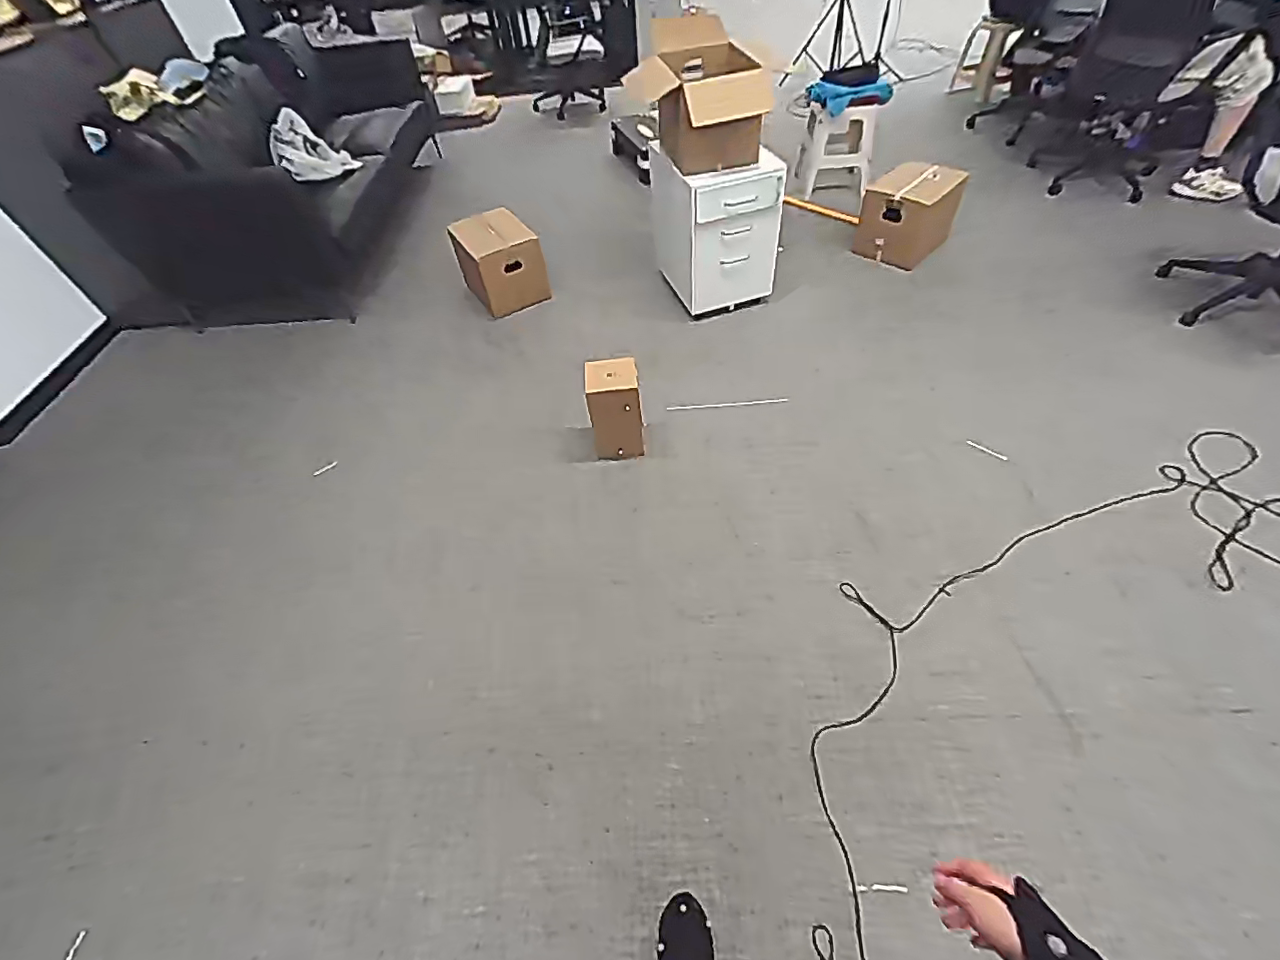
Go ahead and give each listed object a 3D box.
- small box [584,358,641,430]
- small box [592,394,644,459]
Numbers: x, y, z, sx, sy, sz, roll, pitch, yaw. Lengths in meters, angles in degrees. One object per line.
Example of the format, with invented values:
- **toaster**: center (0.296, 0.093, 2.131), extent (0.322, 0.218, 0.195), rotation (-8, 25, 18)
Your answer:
- **small box**: center (-0.091, -0.291, 1.851), extent (0.179, 0.176, 0.168), rotation (-8, 49, 2)
- **small box**: center (-0.078, -0.196, 1.983), extent (0.179, 0.176, 0.168), rotation (-5, 50, 2)
